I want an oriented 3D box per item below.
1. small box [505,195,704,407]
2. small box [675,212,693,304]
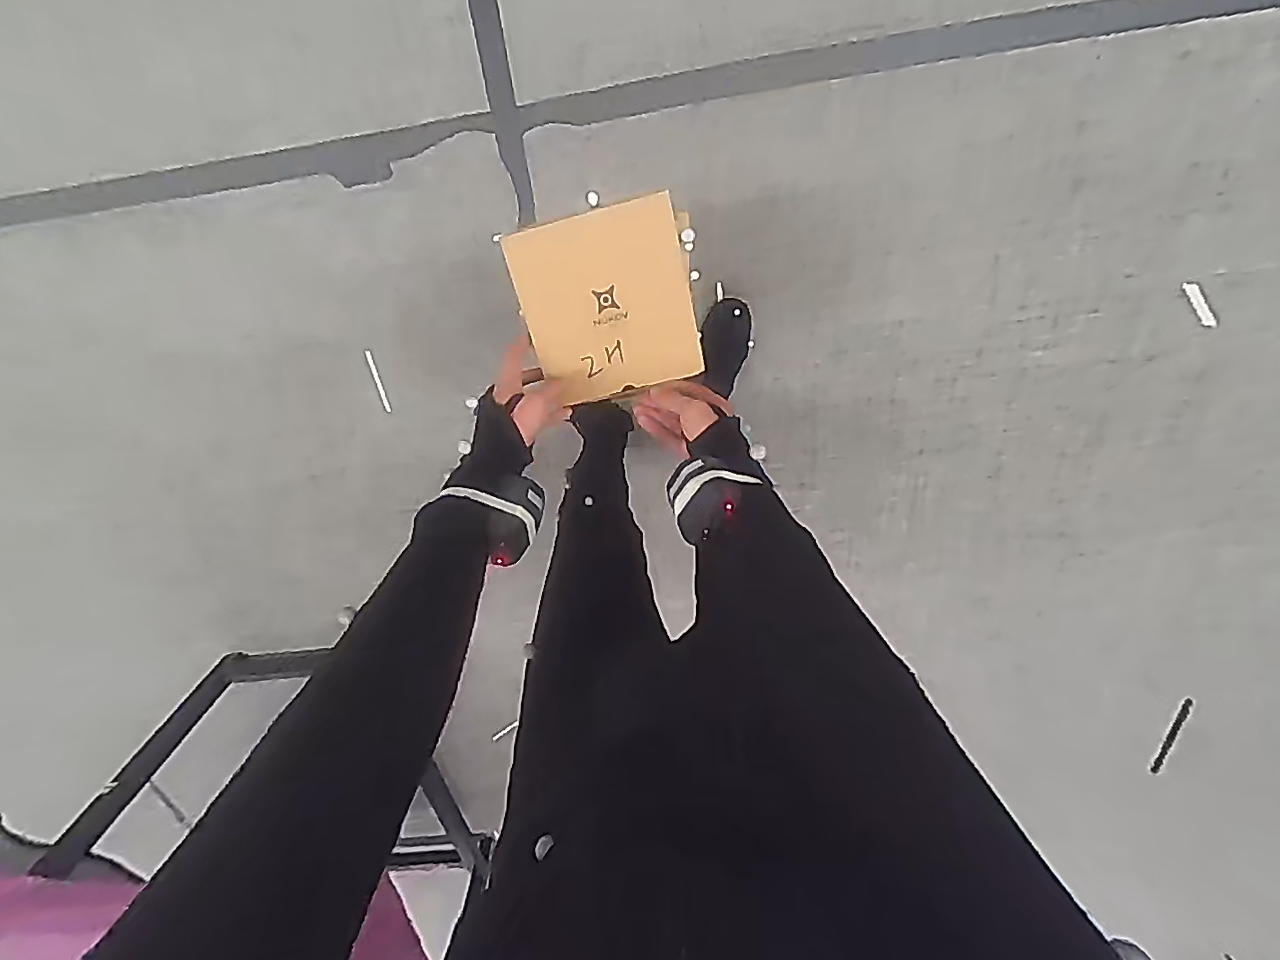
[{"bbox_3d":[-0.030,-0.206,0.607,0.168,0.176,0.179,-12,118,8],"label":"small box"},{"bbox_3d":[0.000,-0.348,0.903,0.168,0.176,0.179,-3,120,2],"label":"small box"}]
